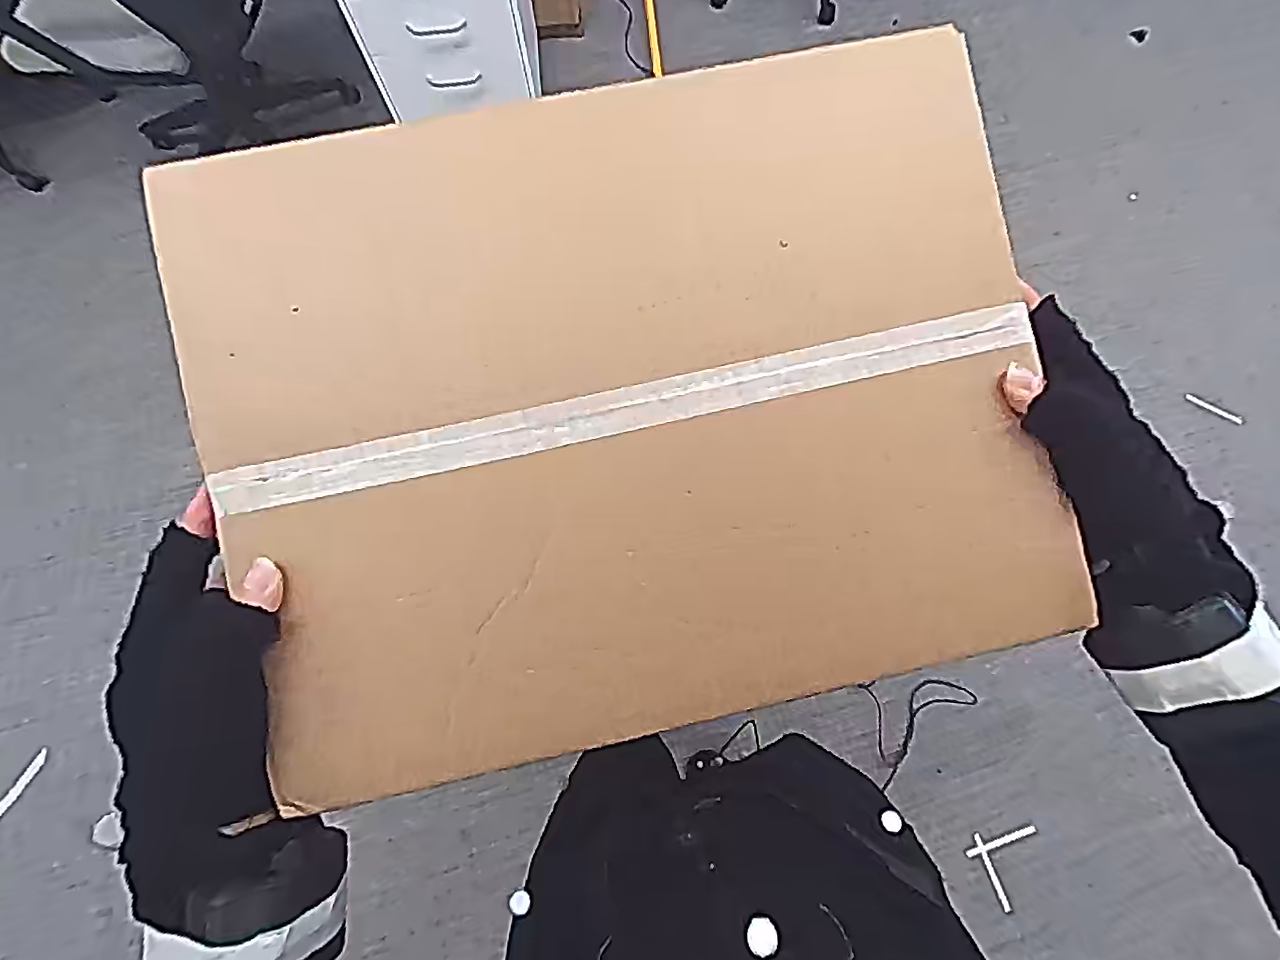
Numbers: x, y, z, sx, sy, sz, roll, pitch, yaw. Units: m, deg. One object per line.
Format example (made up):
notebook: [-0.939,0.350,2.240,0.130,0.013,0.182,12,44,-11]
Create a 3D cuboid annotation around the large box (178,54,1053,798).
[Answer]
large box: [-0.010,-0.034,0.424,0.408,0.320,0.320,-12,89,-3]
